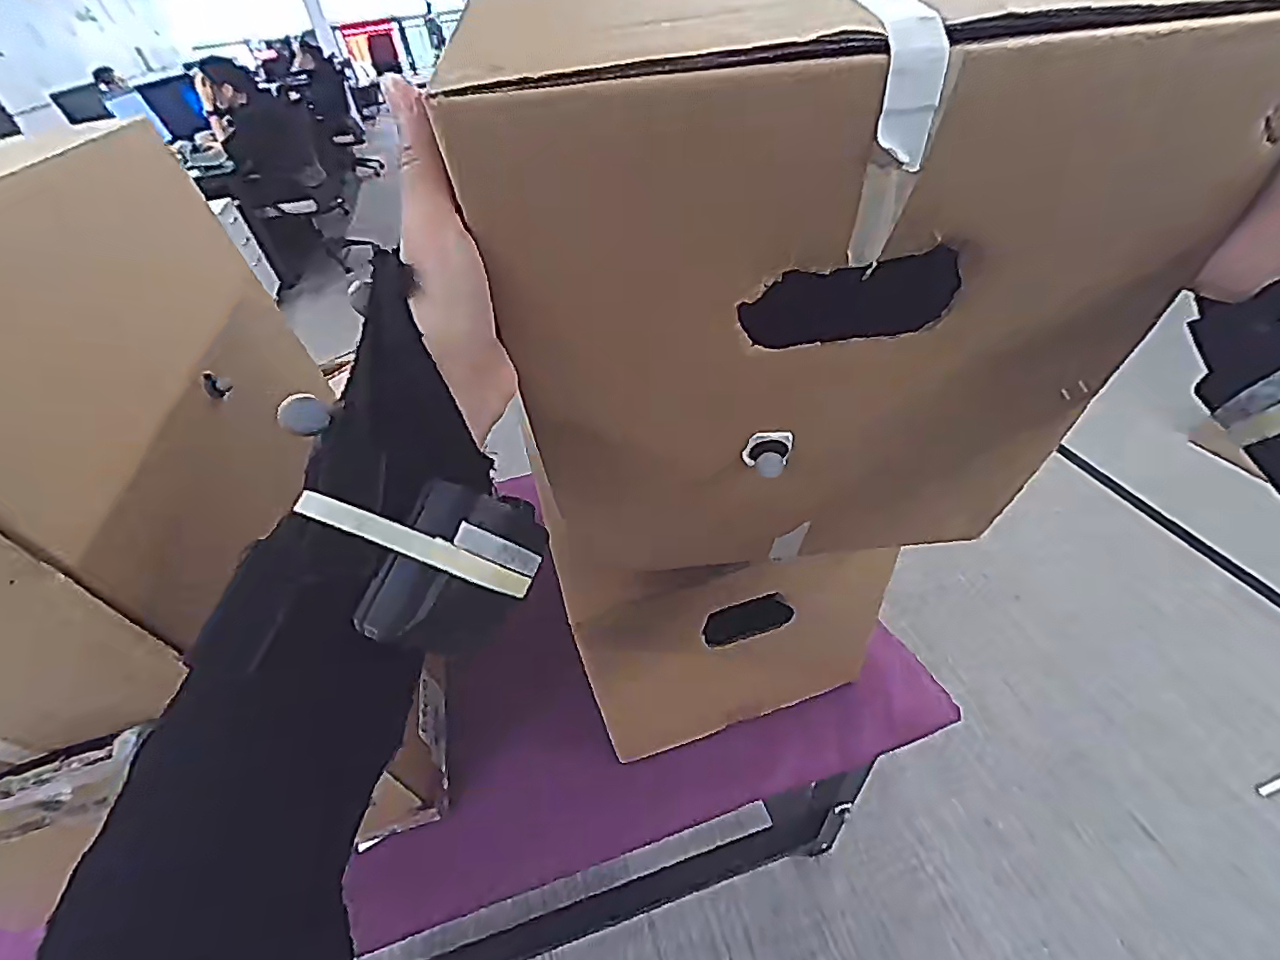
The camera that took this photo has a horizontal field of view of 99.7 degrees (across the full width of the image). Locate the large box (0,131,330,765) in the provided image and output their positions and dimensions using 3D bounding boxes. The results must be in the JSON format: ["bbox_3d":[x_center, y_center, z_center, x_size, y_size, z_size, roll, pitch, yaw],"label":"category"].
[{"bbox_3d":[-0.502,-0.037,0.437,0.320,0.320,0.408,-18,44,-4],"label":"large box"}]
